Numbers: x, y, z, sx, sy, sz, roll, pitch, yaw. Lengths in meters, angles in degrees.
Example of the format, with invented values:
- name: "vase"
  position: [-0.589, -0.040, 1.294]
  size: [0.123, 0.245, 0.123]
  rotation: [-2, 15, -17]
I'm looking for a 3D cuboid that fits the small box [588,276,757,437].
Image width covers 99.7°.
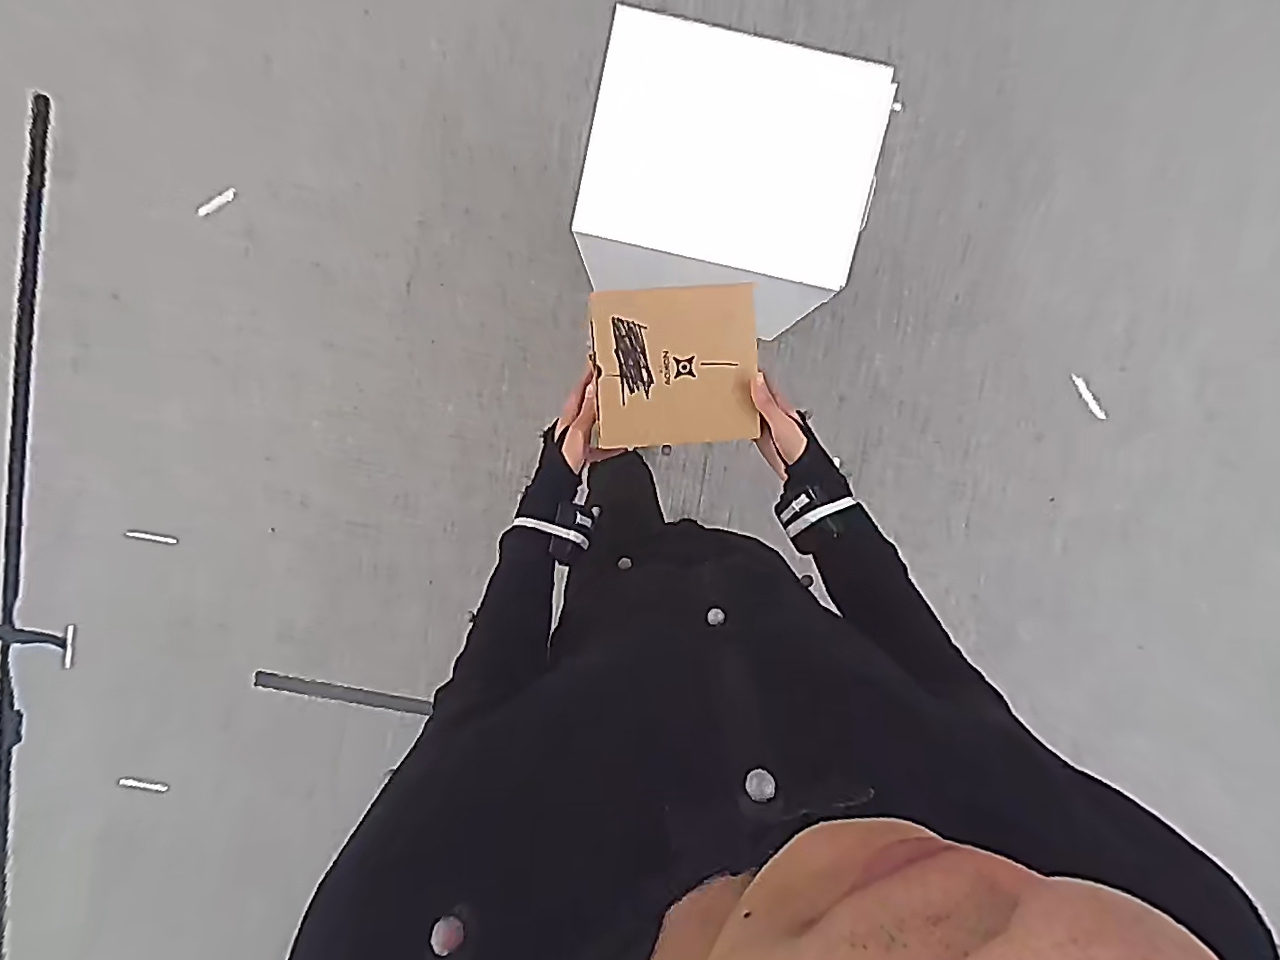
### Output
- name: "small box"
  position: [0.034, -0.138, 0.654]
  size: [0.179, 0.176, 0.168]
  rotation: [-4, 96, -2]
